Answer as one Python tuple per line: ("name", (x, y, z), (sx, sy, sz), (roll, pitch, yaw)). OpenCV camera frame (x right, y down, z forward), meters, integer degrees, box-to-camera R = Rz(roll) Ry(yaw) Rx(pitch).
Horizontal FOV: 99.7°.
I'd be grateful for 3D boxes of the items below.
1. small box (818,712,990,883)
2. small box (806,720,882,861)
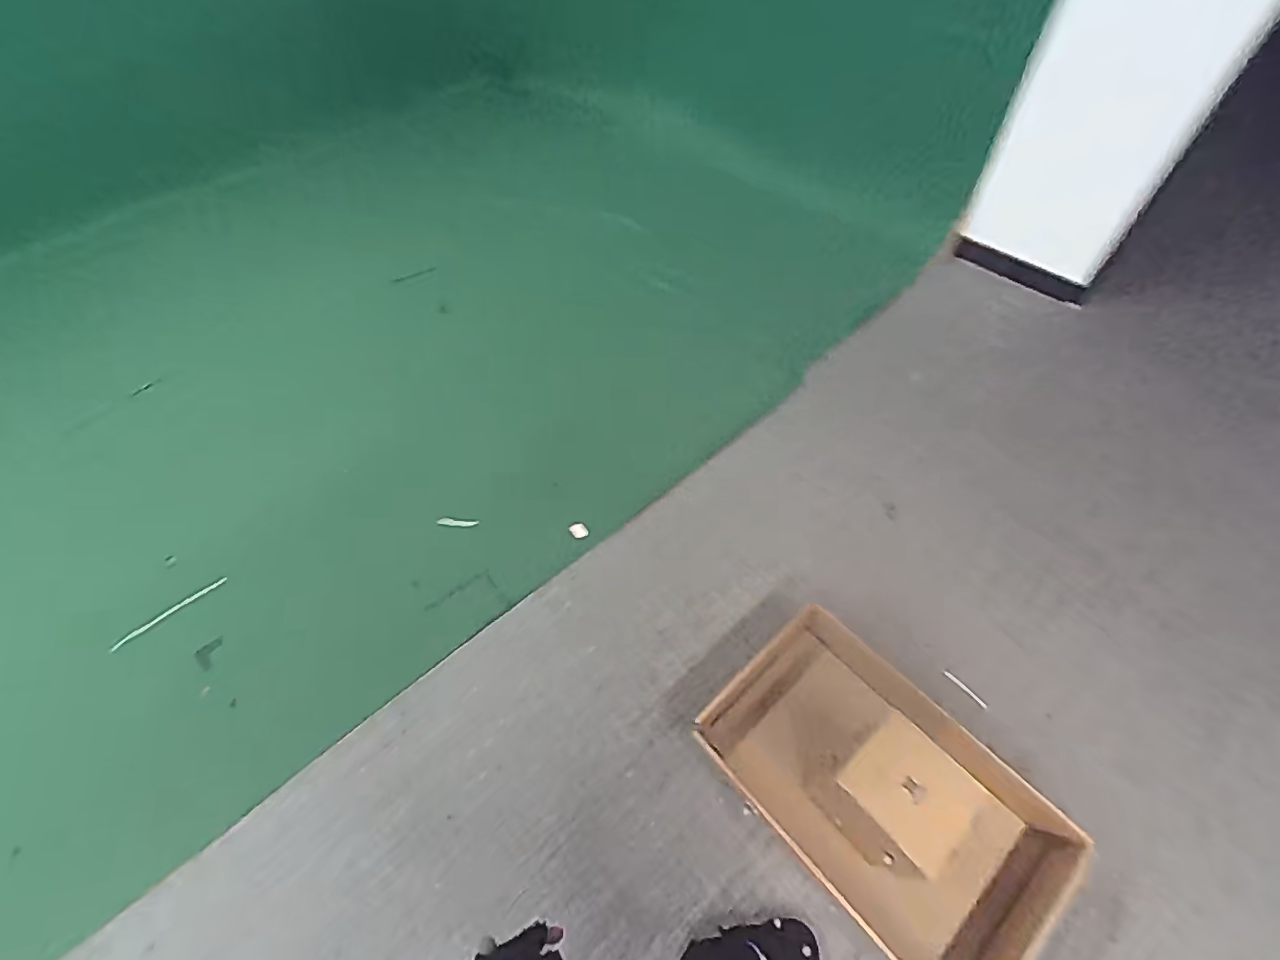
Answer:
("small box", (0.429, 0.527, 0.907), (0.168, 0.176, 0.179), (-41, 62, -21))
("small box", (0.453, 0.615, 1.064), (0.168, 0.176, 0.179), (-38, 61, -21))
